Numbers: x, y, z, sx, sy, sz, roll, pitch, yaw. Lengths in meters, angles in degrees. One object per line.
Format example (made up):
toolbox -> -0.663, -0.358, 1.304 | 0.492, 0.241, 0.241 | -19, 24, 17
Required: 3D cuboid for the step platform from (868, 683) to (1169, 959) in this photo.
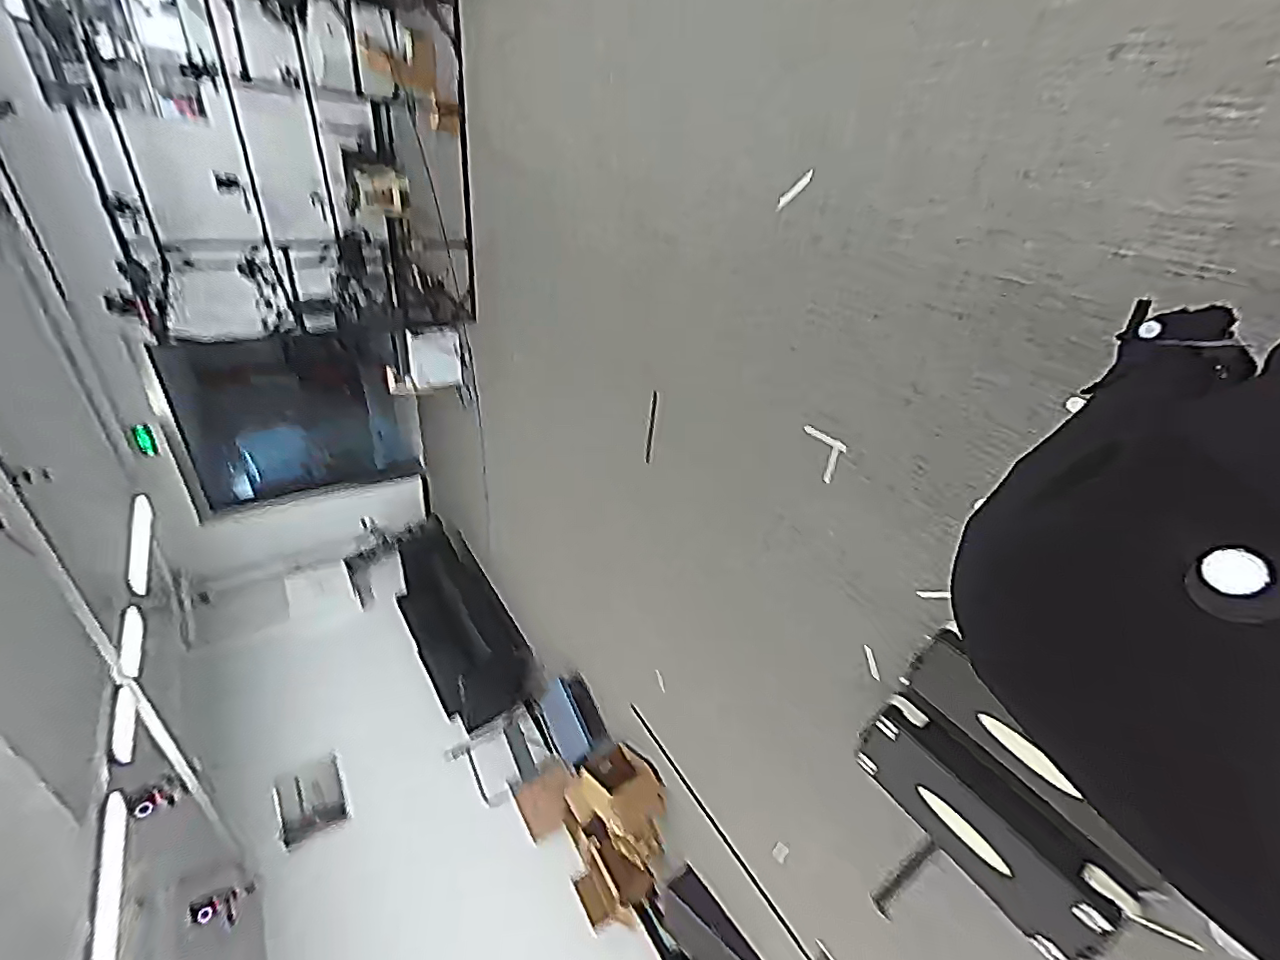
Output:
step platform -> 0.995, 0.929, 1.520 | 0.684, 0.204, 0.286 | 43, 136, 43
